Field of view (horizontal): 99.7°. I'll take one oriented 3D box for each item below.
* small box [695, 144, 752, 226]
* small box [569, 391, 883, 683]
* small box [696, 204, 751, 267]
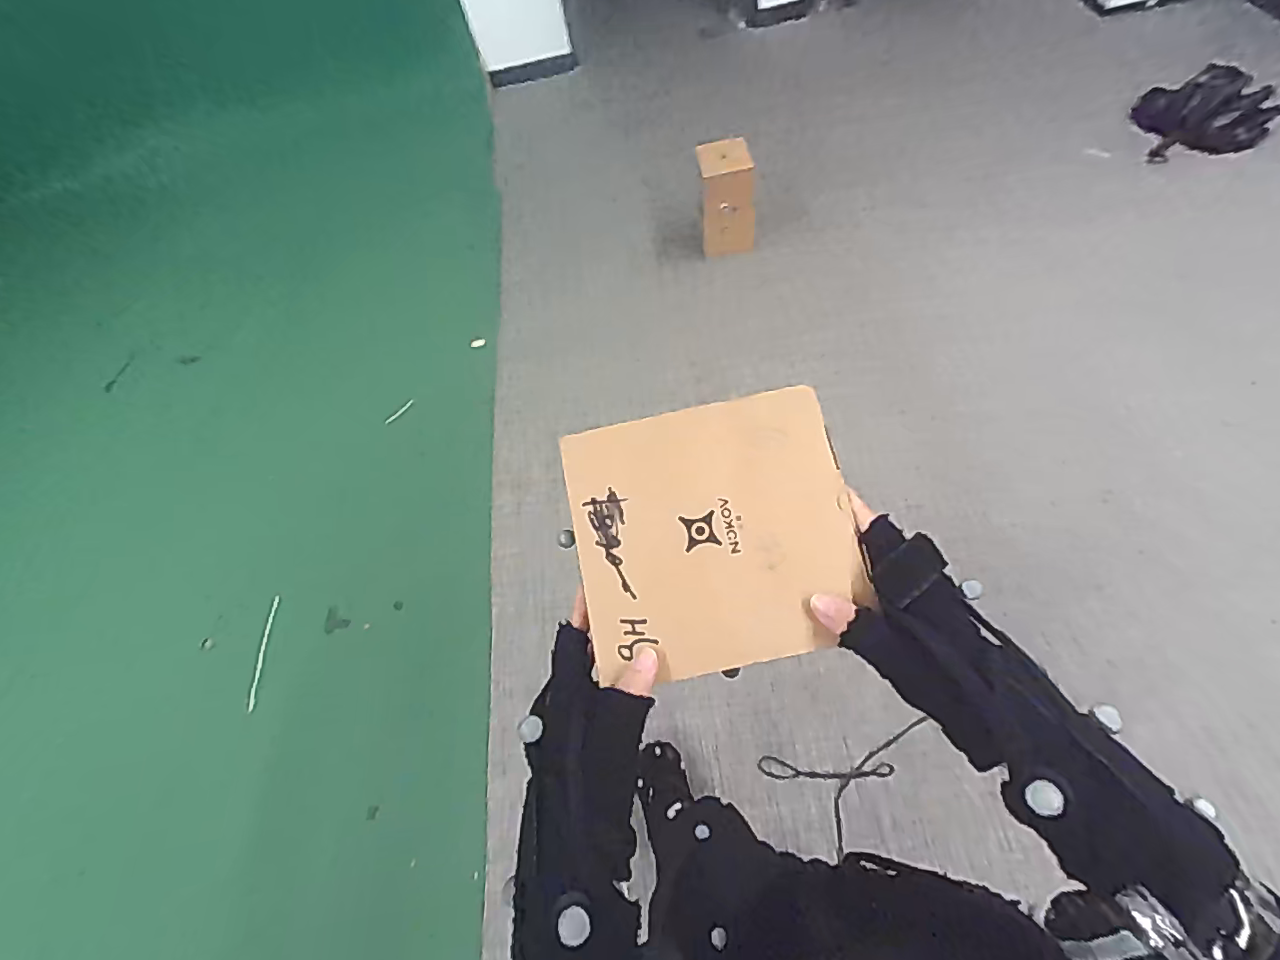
[{"bbox_3d":[0.284,-1.009,1.857,0.168,0.176,0.179,-10,62,5],"label":"small box"},{"bbox_3d":[0.052,0.052,0.422,0.179,0.176,0.168,-11,74,0],"label":"small box"},{"bbox_3d":[0.309,-0.917,2.007,0.179,0.176,0.168,-9,61,4],"label":"small box"}]
